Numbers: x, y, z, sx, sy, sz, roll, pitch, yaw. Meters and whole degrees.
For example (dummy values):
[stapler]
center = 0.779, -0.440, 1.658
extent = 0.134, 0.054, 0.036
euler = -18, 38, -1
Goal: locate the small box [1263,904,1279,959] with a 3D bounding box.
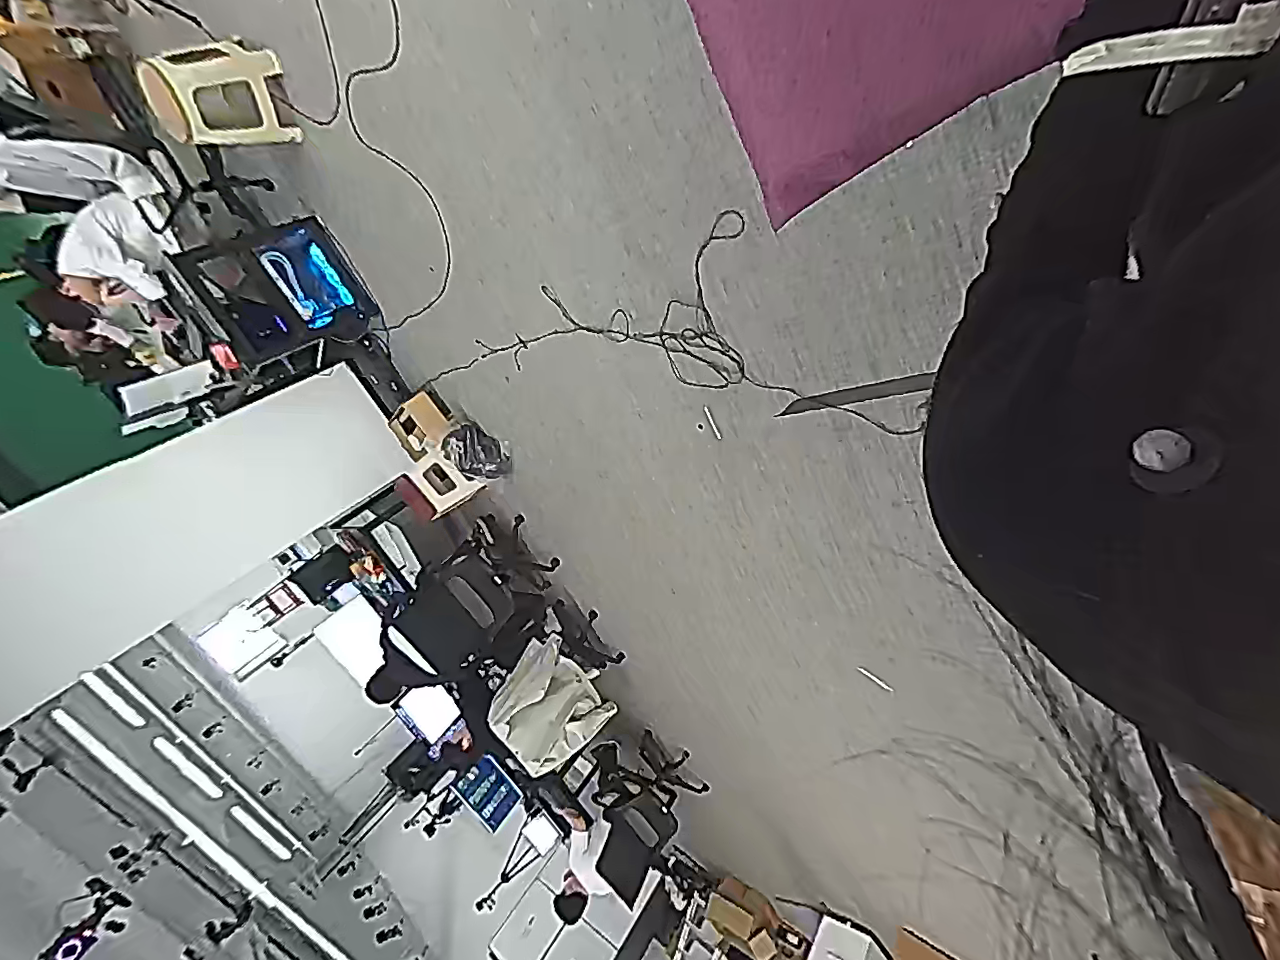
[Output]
[small box]
center = 1.669, 1.196, 1.322
extent = 0.179, 0.176, 0.168
euler = -7, 117, 49
